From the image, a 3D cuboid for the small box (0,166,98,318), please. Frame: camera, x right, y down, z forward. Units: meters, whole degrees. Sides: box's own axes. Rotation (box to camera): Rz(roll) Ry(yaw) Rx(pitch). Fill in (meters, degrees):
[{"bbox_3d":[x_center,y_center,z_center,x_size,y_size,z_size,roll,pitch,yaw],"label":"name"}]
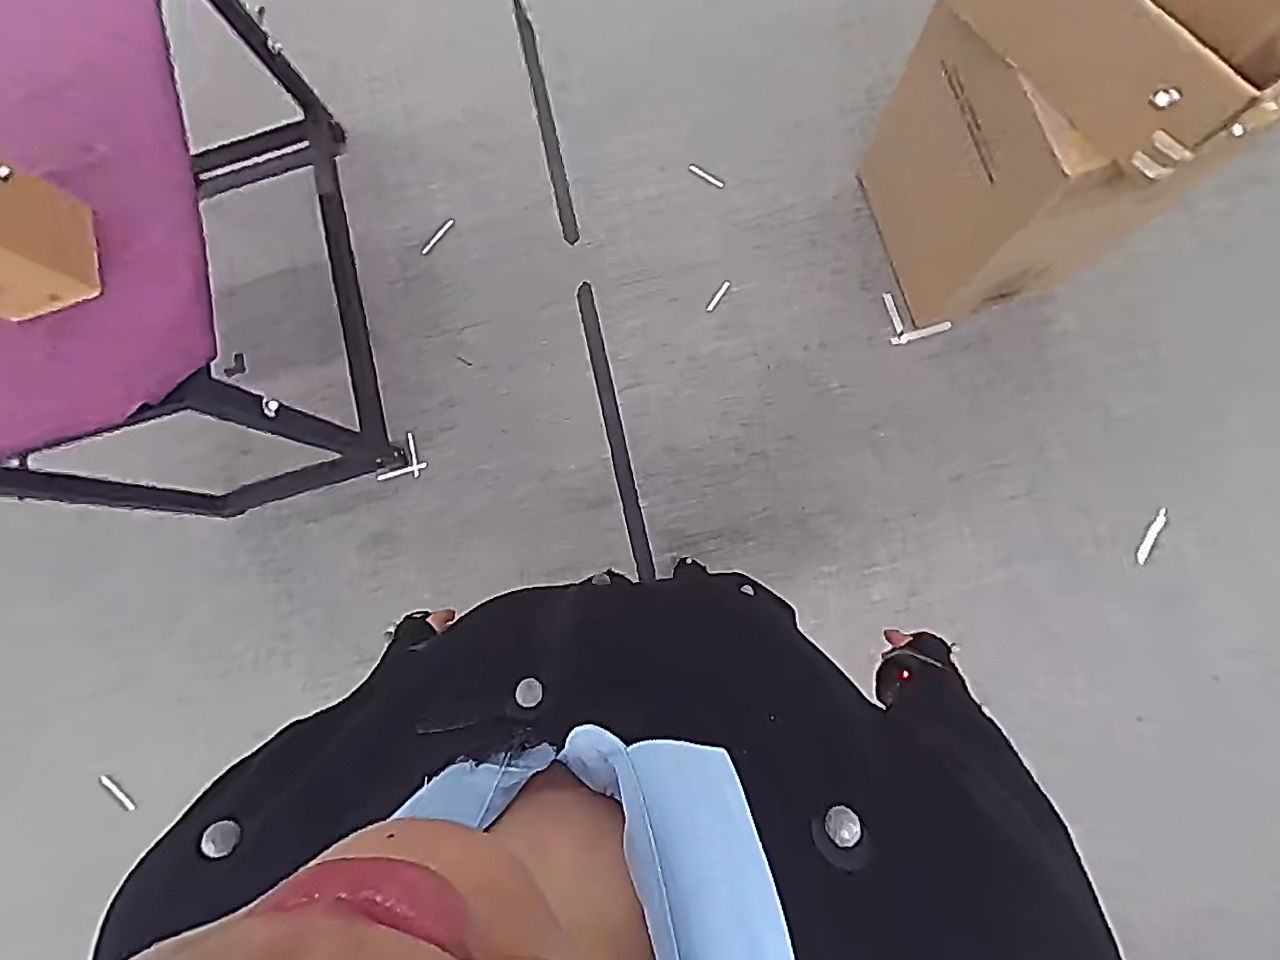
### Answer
[{"bbox_3d":[-1.024,-0.380,0.860,0.168,0.176,0.179,-18,80,2],"label":"small box"}]
